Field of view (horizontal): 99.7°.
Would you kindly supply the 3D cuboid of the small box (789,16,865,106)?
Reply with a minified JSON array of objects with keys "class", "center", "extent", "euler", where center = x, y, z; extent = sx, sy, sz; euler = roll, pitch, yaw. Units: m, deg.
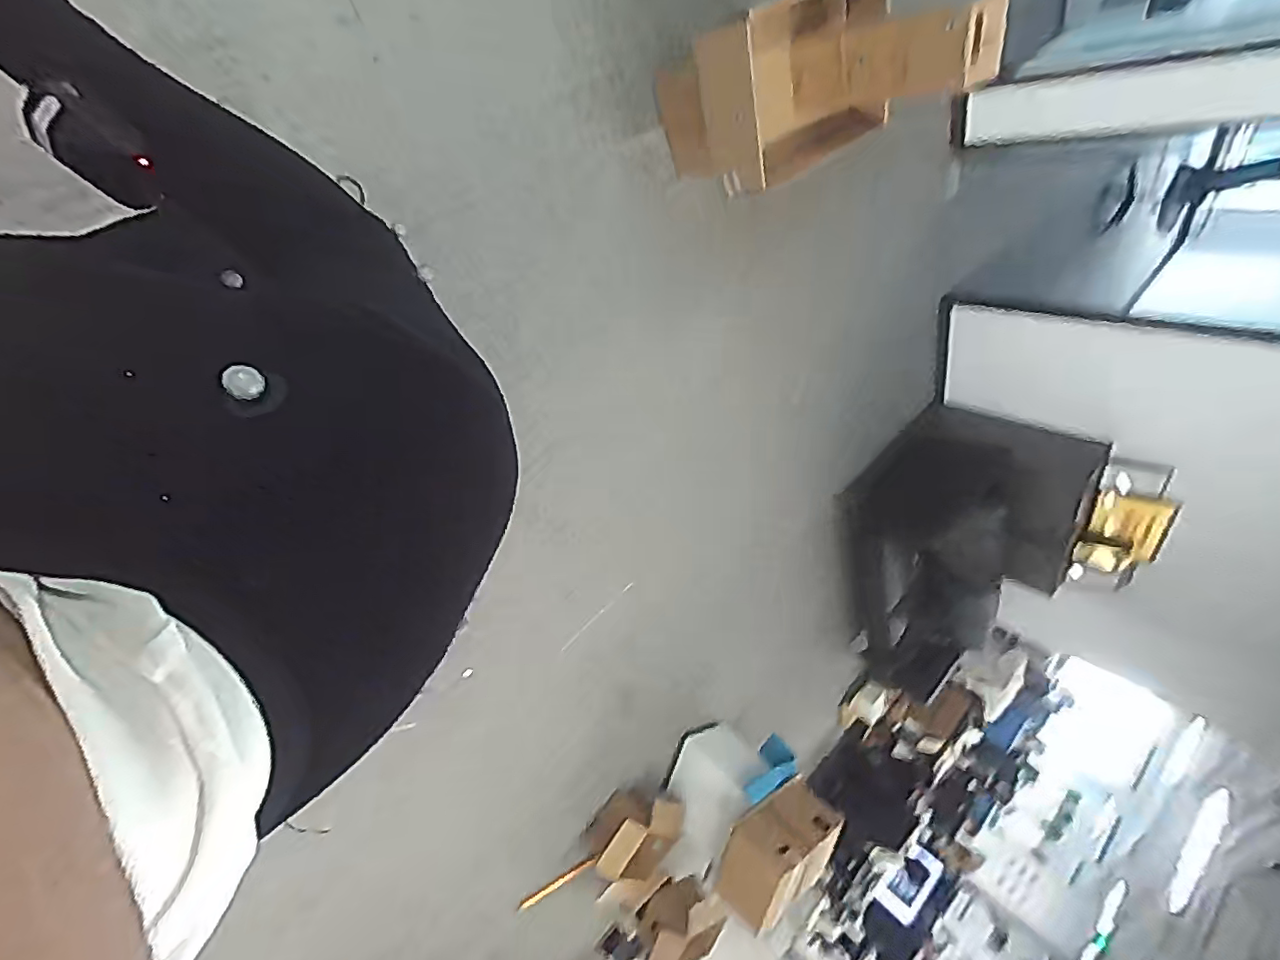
[{"class":"small box","center":[0.549,-1.196,1.544],"extent":[0.179,0.176,0.168],"euler":[-37,131,-21]}]

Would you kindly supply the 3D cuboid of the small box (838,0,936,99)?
[{"class":"small box","center":[0.648,-1.134,1.432],"extent":[0.179,0.176,0.168],"euler":[-37,133,-21]}]
